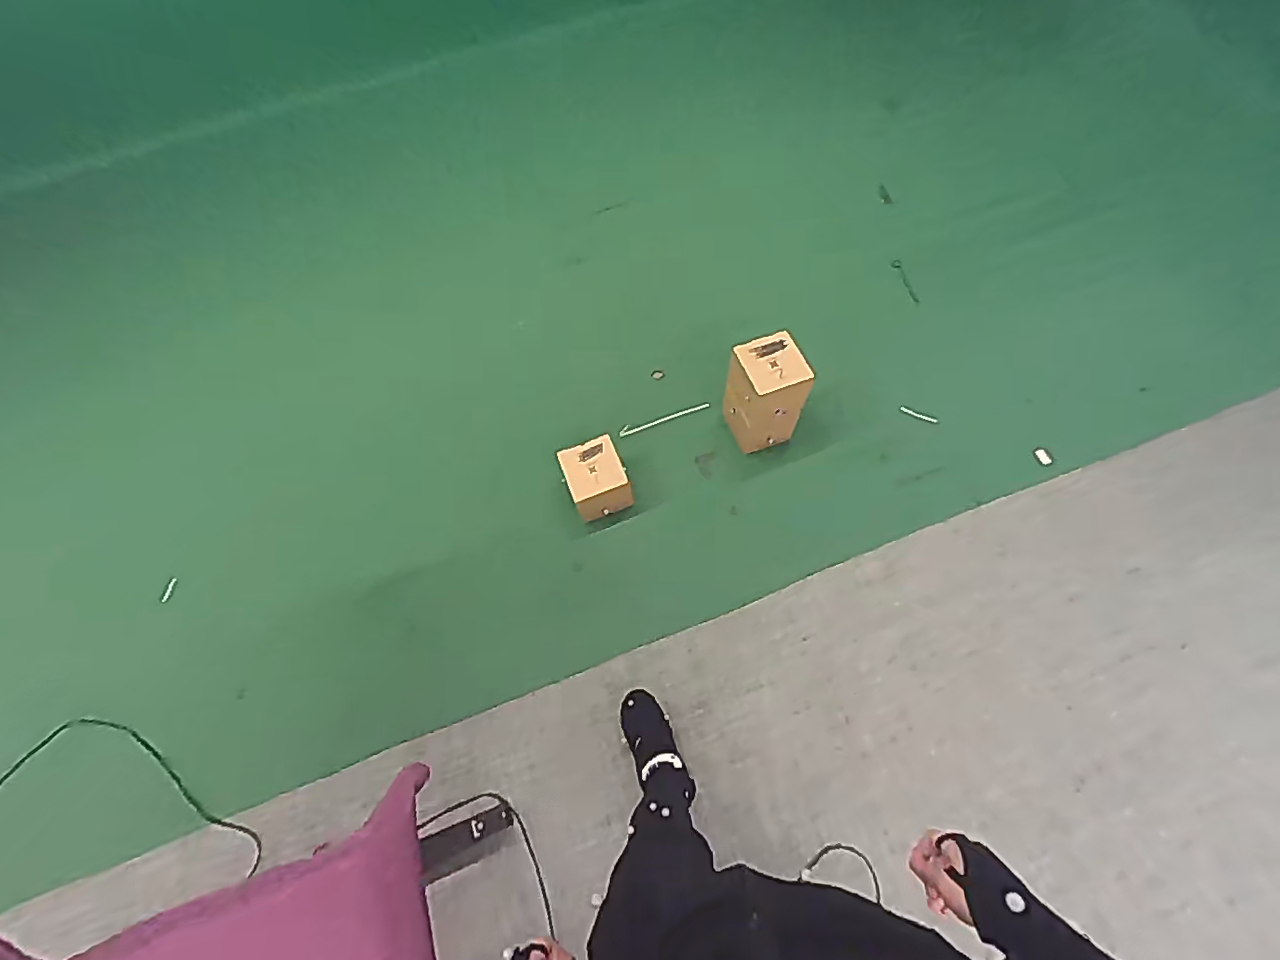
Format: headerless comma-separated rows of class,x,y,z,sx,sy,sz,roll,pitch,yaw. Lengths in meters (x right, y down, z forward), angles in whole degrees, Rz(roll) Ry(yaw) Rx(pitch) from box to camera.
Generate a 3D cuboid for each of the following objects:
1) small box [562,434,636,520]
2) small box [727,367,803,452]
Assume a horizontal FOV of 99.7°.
small box,-0.120,-0.005,1.627,0.168,0.176,0.179,-21,66,-5
small box,0.382,-0.216,1.690,0.168,0.176,0.179,-19,65,-5
